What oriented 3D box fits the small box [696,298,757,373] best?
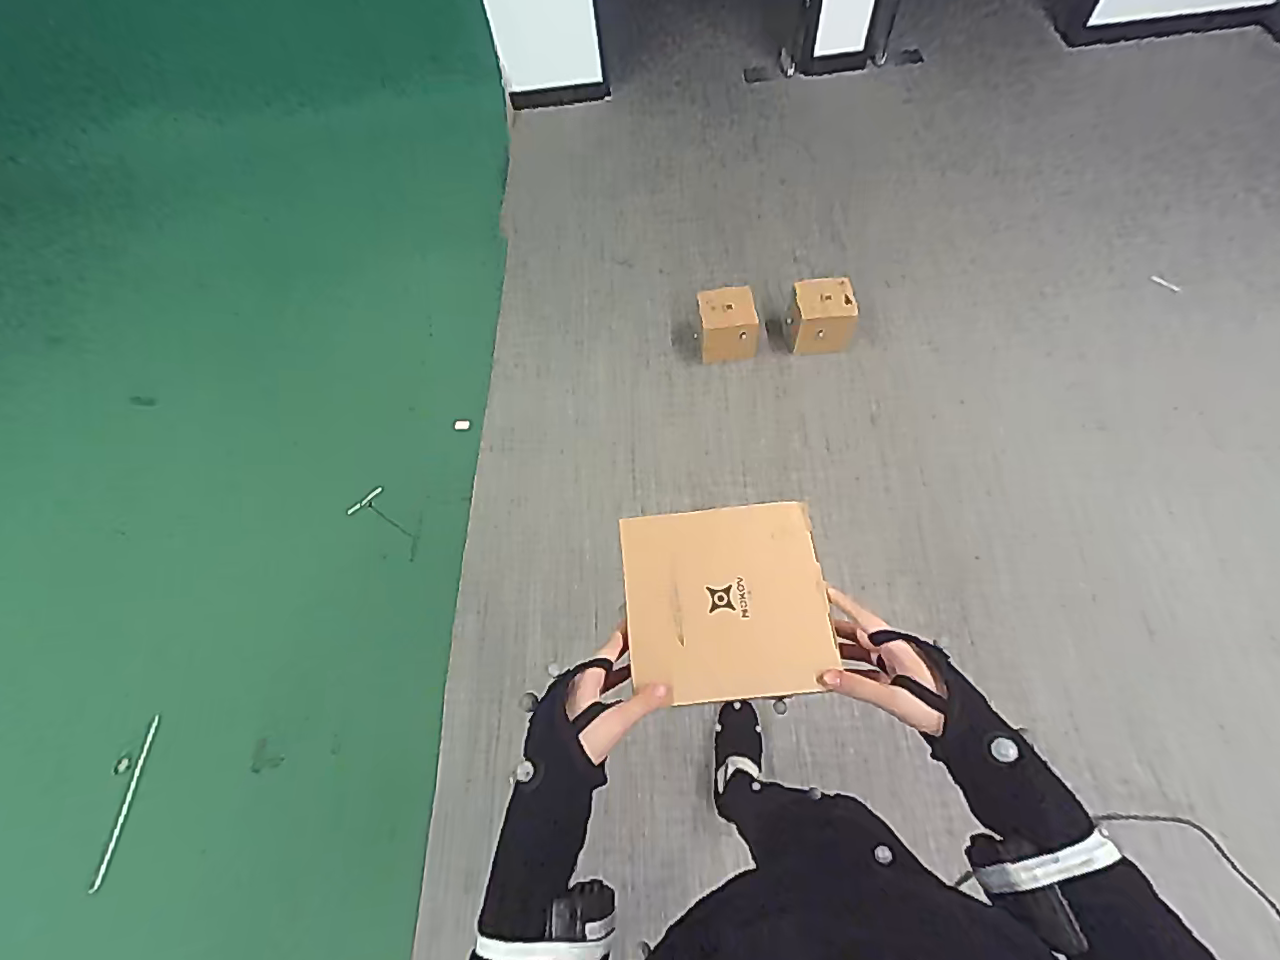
[{"bbox_3d":[0.281,-0.477,1.803,0.179,0.176,0.168,-7,61,3],"label":"small box"}]

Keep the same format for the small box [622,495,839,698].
[{"bbox_3d":[0.080,0.128,0.555,0.179,0.176,0.168,-7,65,2],"label":"small box"}]
